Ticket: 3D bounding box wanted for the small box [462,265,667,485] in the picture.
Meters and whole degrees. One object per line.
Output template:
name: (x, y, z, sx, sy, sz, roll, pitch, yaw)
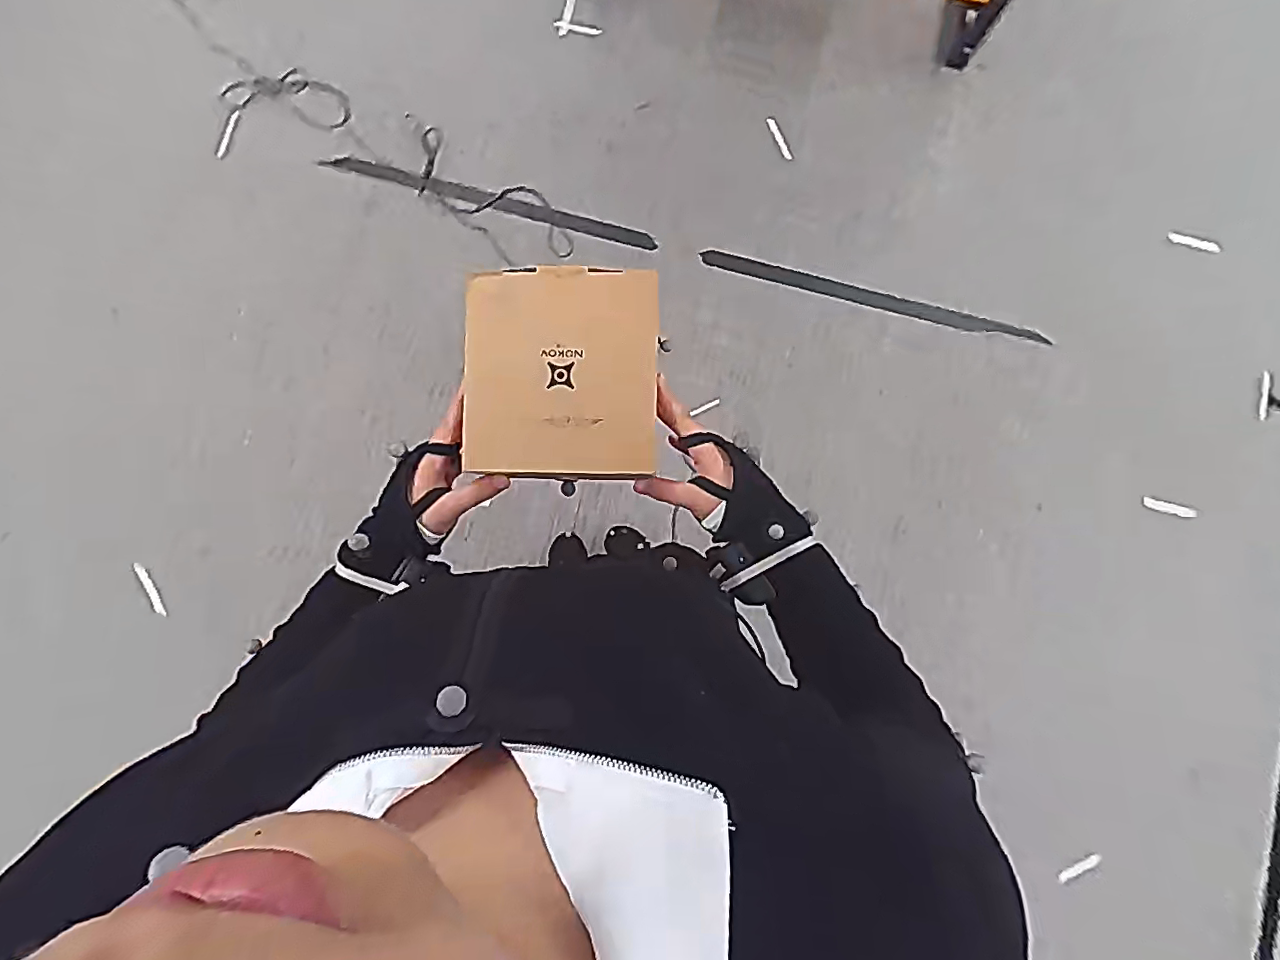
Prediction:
small box: (-0.062, -0.088, 0.530, 0.168, 0.176, 0.179, 2, 88, 2)
